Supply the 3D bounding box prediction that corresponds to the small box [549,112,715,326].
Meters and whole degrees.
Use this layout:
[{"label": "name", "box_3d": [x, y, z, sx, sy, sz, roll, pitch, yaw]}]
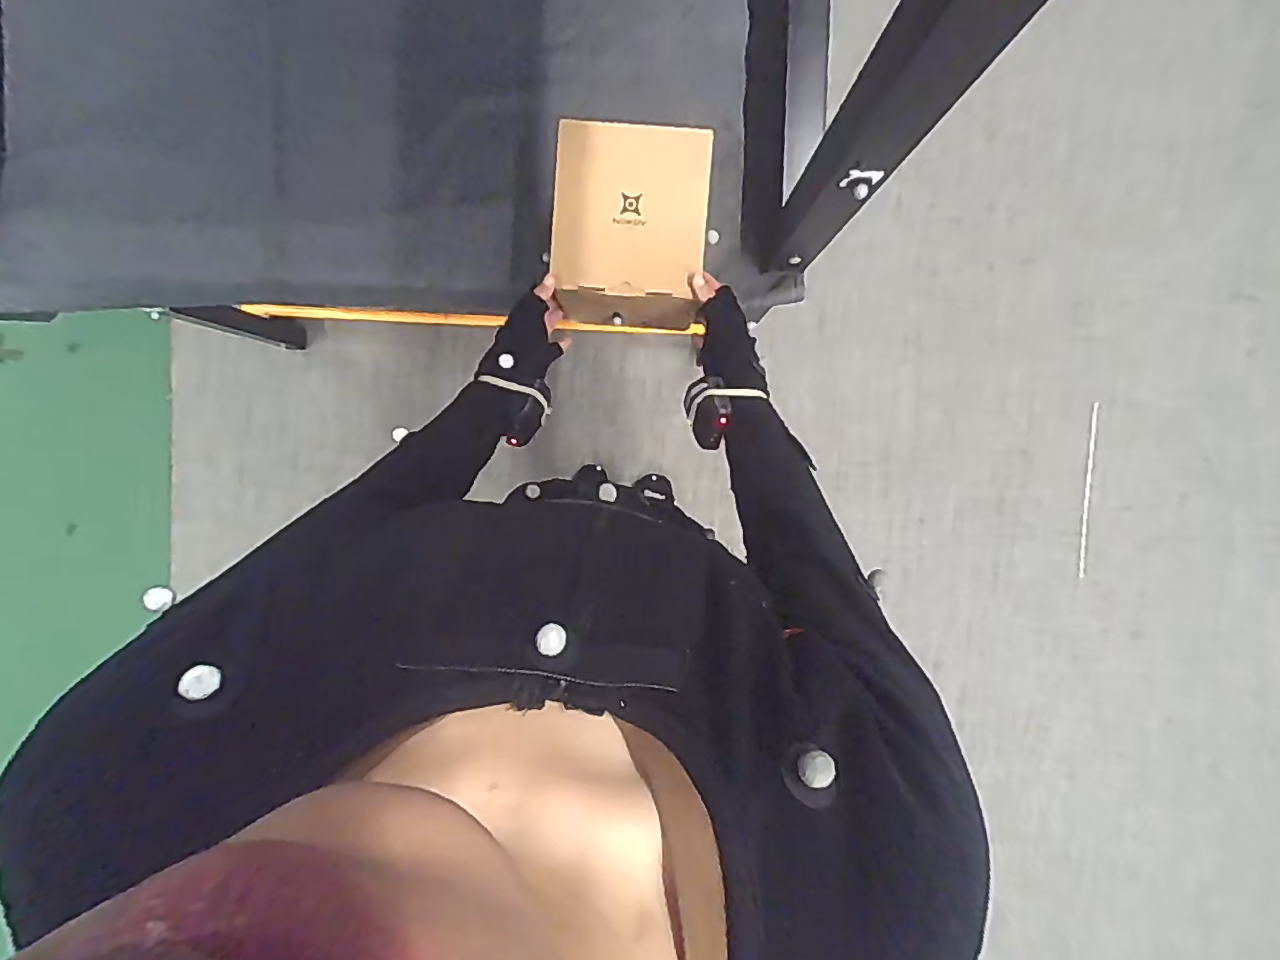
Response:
[{"label": "small box", "box_3d": [-0.008, -0.296, 0.647, 0.168, 0.176, 0.179, 4, 94, 1]}]
